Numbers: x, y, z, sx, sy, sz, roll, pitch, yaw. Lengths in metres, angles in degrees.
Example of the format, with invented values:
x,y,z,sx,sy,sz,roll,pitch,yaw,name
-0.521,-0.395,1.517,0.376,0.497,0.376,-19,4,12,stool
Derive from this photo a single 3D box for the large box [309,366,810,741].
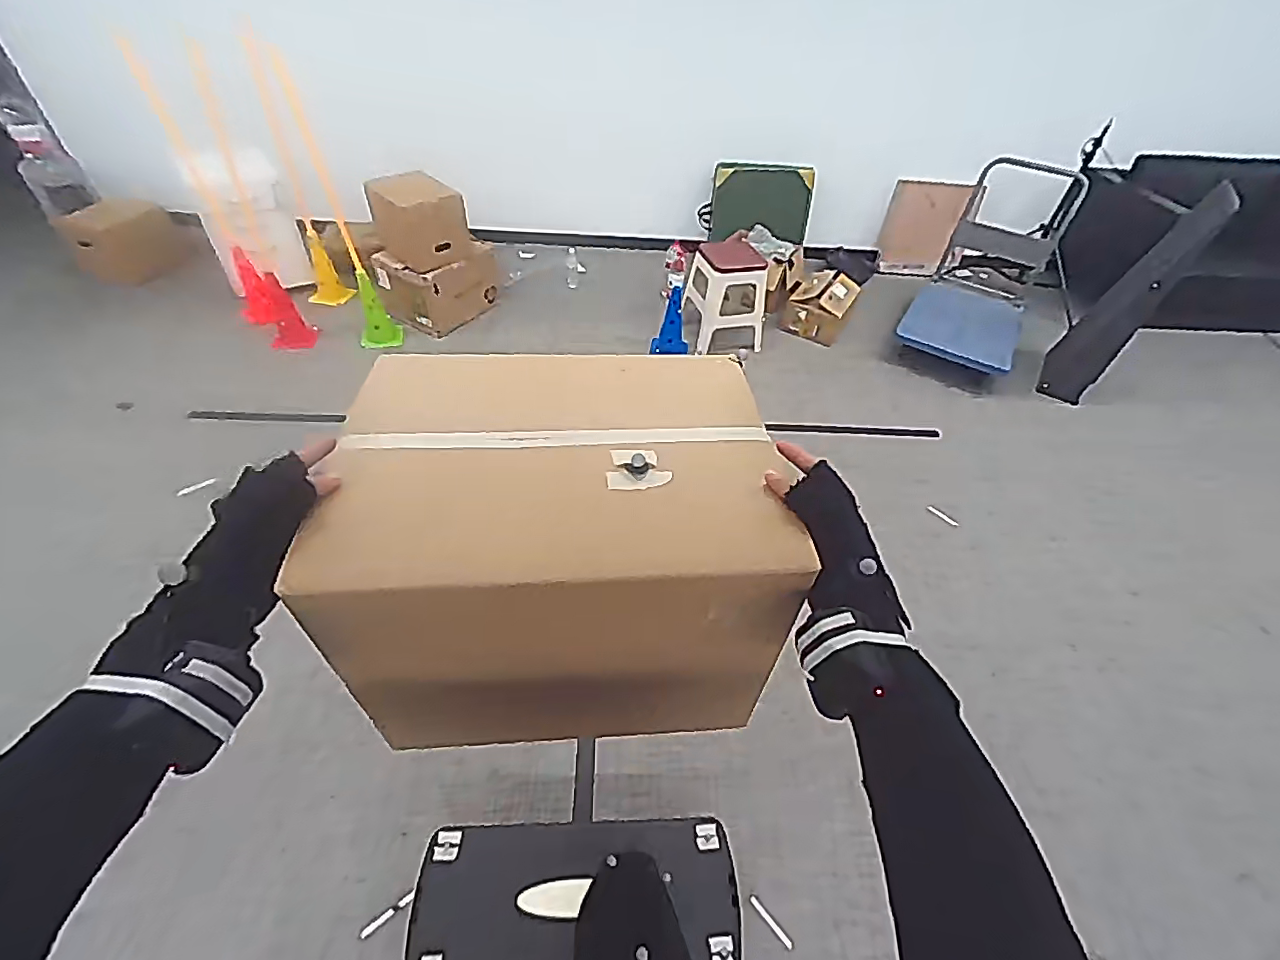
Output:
x,y,z,sx,sy,sz,roll,pitch,yaw,name
-0.078,0.079,0.633,0.408,0.320,0.320,-1,45,-6,large box

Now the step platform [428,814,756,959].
x,y,z,sx,sy,sz,roll,pitch,yaw,name
-0.098,0.916,1.186,0.684,0.204,0.286,1,45,-5,step platform
